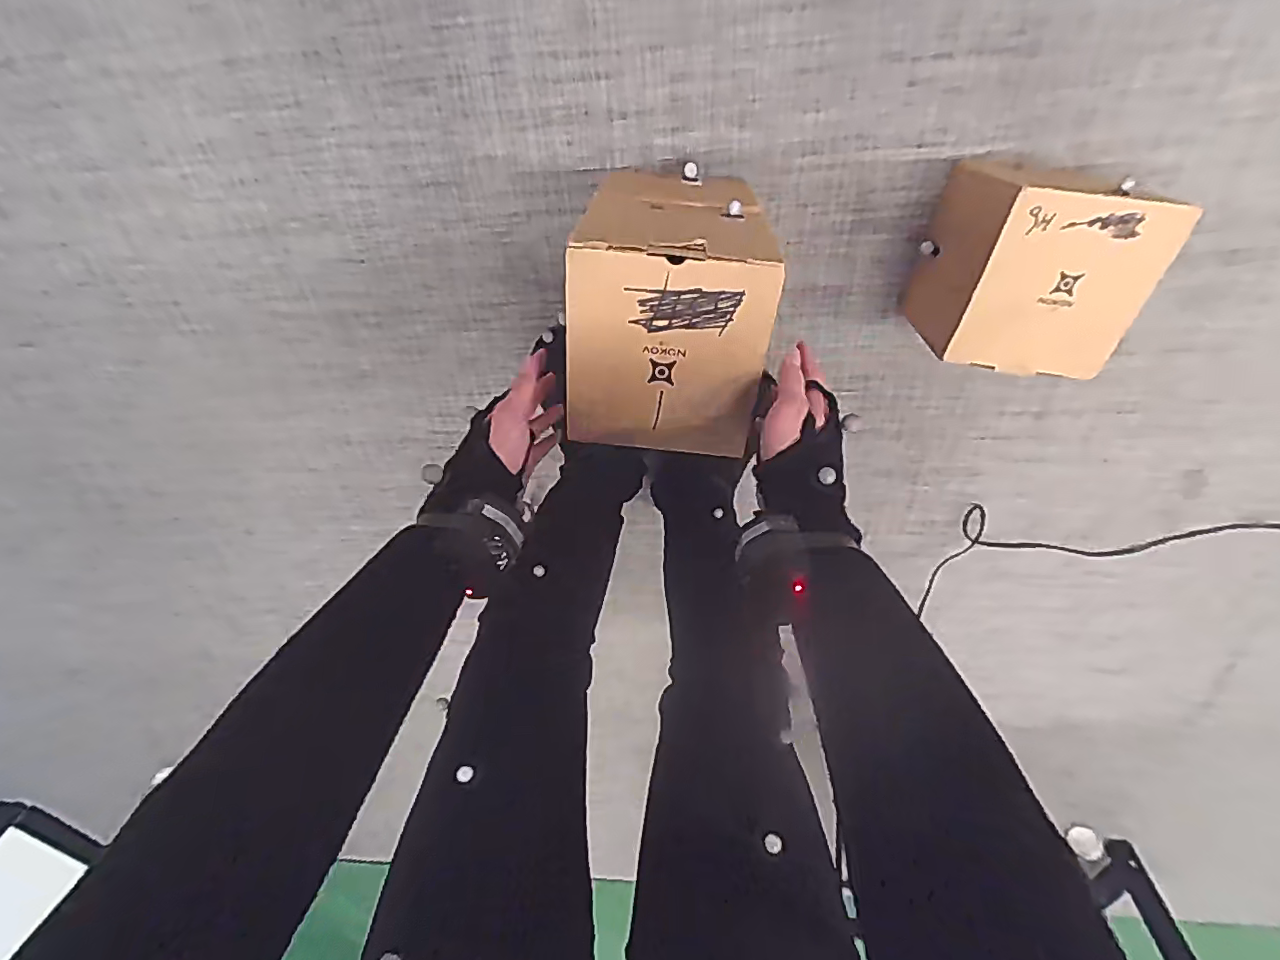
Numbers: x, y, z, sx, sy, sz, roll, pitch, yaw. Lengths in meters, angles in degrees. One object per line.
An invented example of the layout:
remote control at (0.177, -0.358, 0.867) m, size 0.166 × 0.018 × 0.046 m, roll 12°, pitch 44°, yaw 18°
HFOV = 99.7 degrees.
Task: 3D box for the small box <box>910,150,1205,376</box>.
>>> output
small box at (0.422, -0.240, 0.594) m, size 0.168 × 0.176 × 0.179 m, roll 8°, pitch 129°, yaw 1°

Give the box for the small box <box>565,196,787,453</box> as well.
small box at (0.025, -0.150, 0.505) m, size 0.168 × 0.176 × 0.179 m, roll 6°, pitch 130°, yaw 1°

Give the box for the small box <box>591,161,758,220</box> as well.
small box at (0.035, -0.255, 0.631) m, size 0.168 × 0.176 × 0.179 m, roll 5°, pitch 127°, yaw 1°
